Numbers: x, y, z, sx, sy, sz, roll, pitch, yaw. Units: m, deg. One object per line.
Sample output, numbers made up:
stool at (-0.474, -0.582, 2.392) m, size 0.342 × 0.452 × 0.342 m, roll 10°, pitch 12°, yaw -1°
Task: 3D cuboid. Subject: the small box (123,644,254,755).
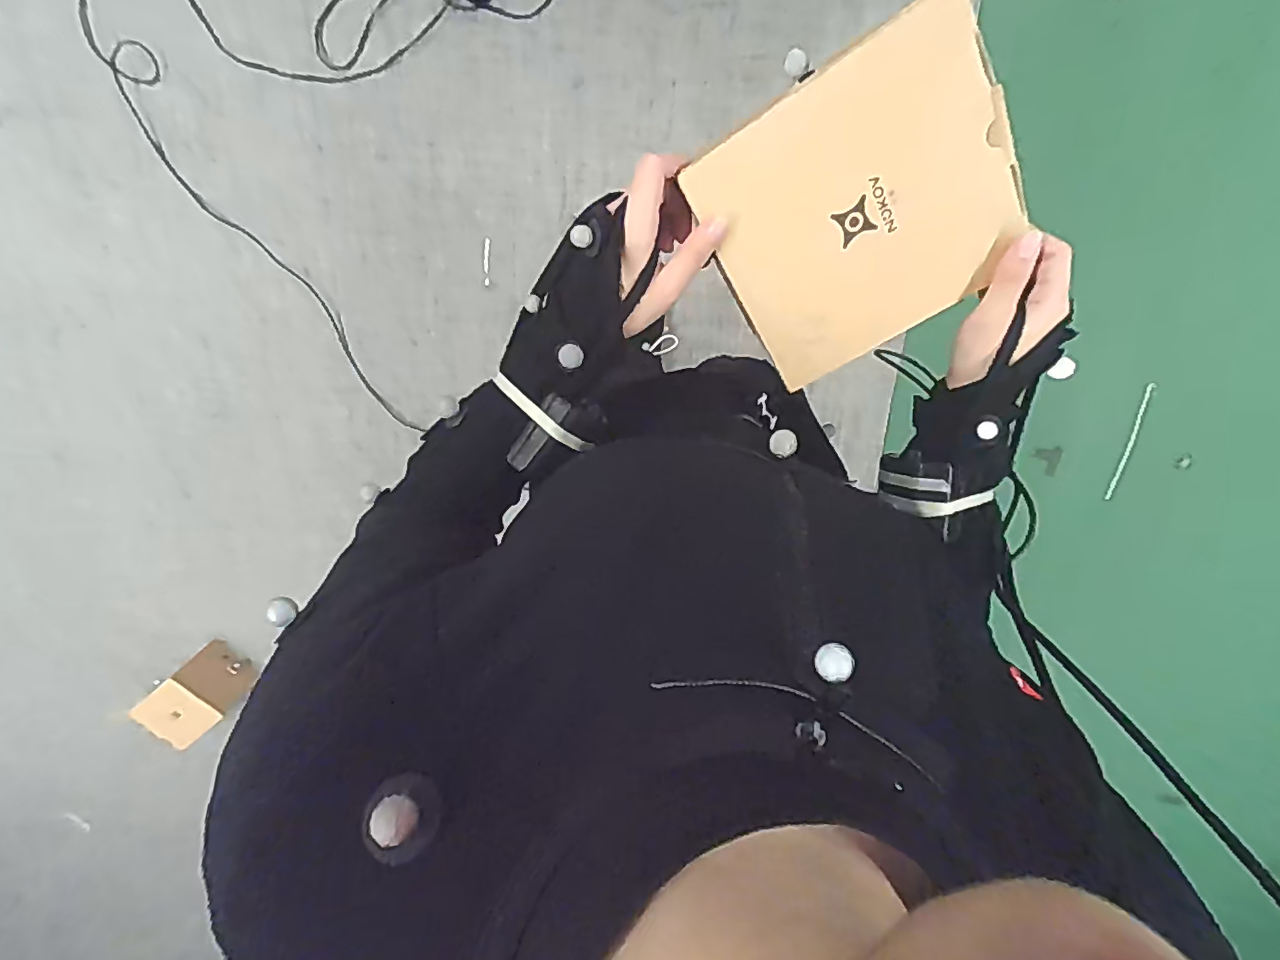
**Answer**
small box at (-1.189, 0.580, 1.441) m, size 0.179 × 0.176 × 0.168 m, roll -38°, pitch 107°, yaw 9°
